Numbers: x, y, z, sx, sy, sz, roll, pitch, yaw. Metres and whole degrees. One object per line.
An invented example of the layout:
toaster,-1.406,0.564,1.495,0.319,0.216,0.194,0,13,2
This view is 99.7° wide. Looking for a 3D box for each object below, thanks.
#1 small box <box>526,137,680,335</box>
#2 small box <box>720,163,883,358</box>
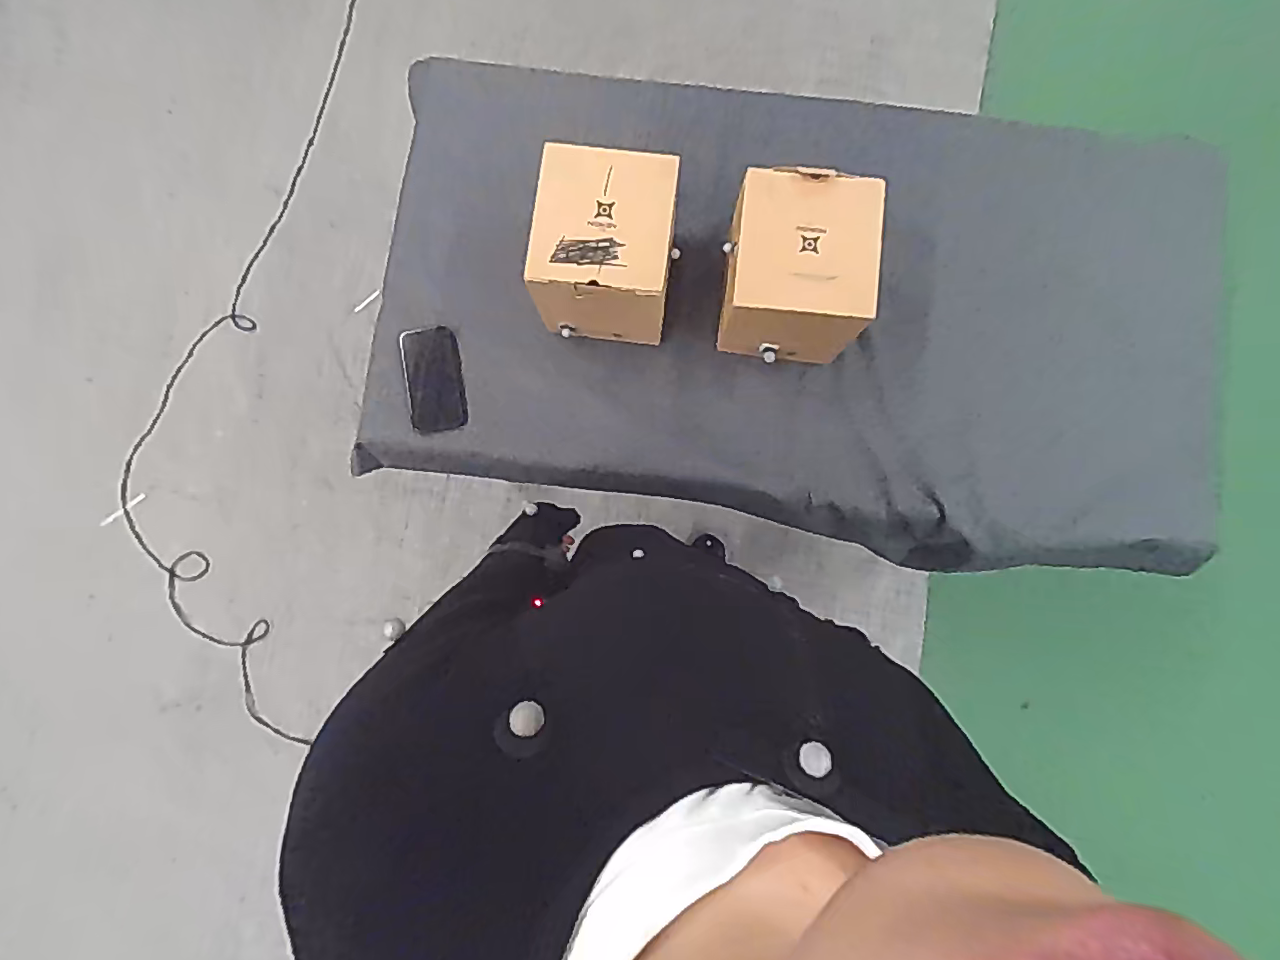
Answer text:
small box,-0.042,-0.309,0.718,0.168,0.176,0.179,7,83,1
small box,0.202,-0.278,0.717,0.168,0.176,0.179,6,86,2
